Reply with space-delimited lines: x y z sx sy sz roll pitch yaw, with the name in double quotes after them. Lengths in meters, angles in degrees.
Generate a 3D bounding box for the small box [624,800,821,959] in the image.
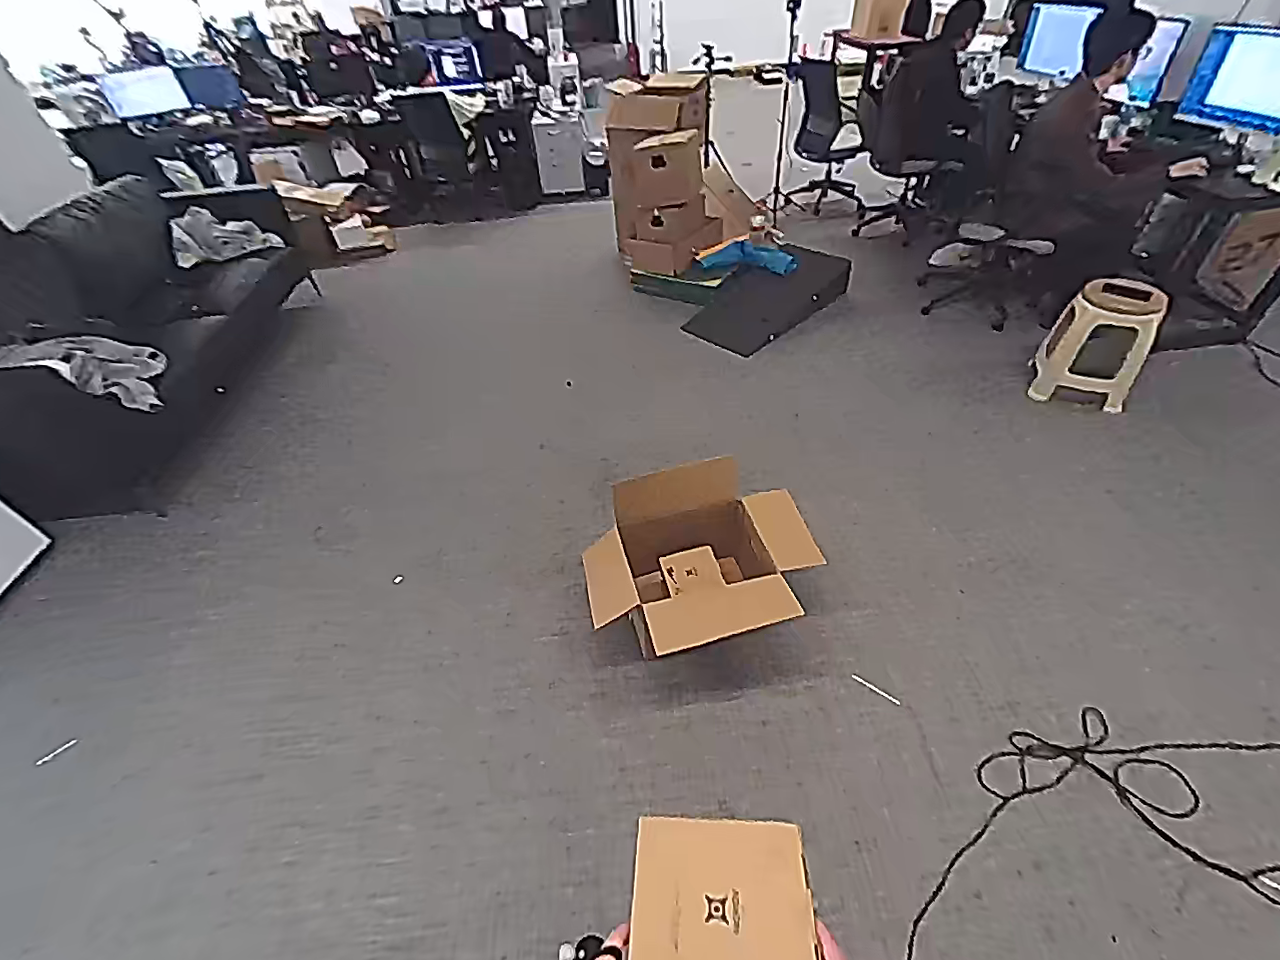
0.087 0.468 0.562 0.179 0.176 0.168 -2 30 10 "small box"
